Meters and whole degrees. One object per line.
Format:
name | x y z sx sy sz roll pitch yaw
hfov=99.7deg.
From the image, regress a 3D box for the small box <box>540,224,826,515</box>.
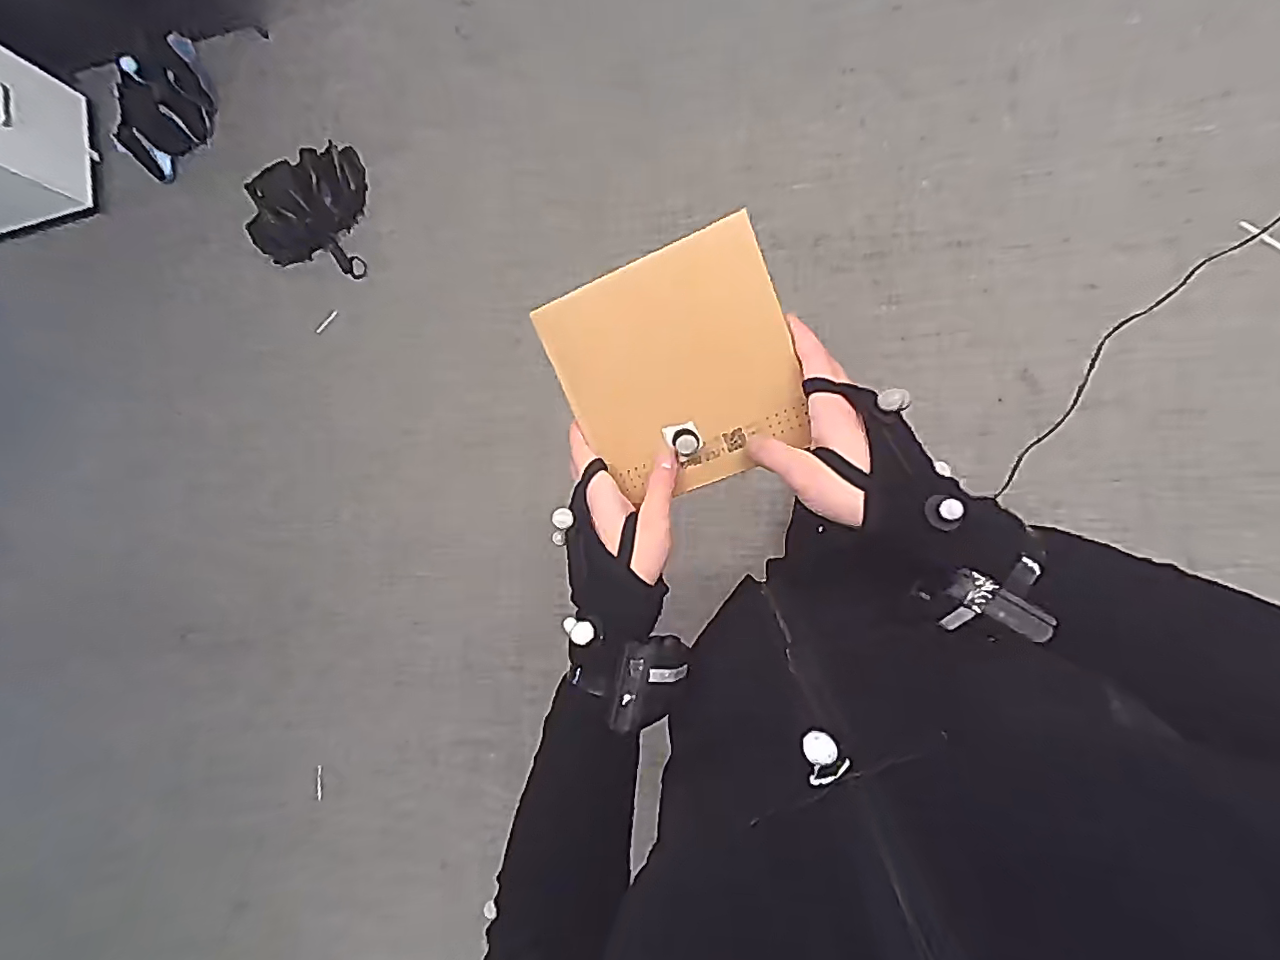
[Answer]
small box | 0.042 -0.087 0.470 0.168 0.179 0.176 -23 100 13
